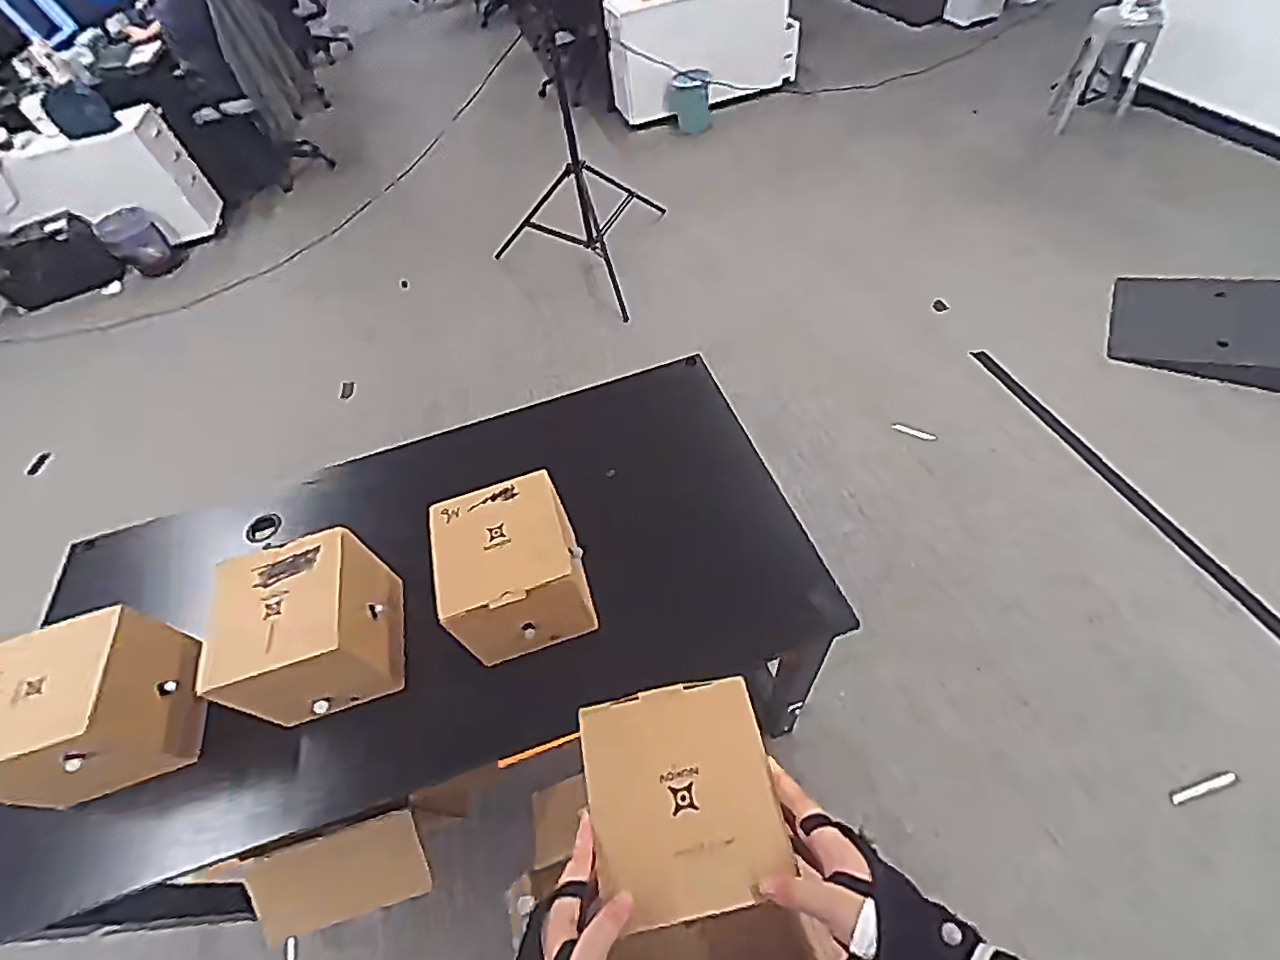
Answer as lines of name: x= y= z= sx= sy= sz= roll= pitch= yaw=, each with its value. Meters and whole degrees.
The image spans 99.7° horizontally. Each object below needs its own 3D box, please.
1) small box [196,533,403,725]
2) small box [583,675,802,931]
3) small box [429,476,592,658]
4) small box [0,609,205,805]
small box: x=-0.439 y=0.204 z=0.732 sx=0.168 sy=0.176 sz=0.179 roll=-17 pitch=54 yaw=-4
small box: x=0.040 y=0.321 z=0.549 sx=0.168 sy=0.176 sz=0.179 roll=-11 pitch=57 yaw=-5
small box: x=-0.174 y=0.129 z=0.751 sx=0.168 sy=0.176 sz=0.179 roll=-18 pitch=54 yaw=-5
small box: x=-0.707 y=0.296 z=0.700 sx=0.179 sy=0.176 sz=0.168 roll=-18 pitch=53 yaw=-6
